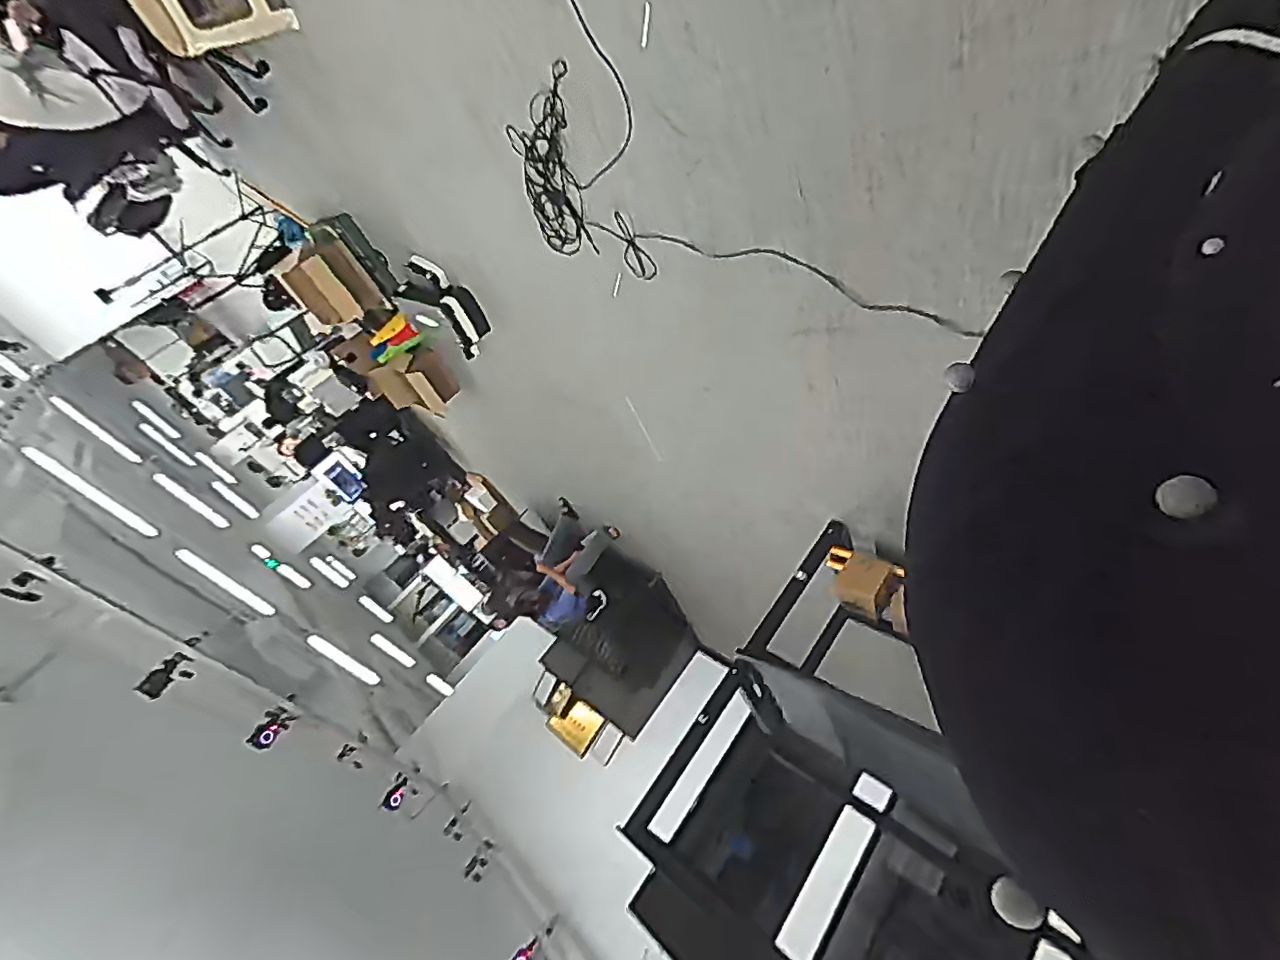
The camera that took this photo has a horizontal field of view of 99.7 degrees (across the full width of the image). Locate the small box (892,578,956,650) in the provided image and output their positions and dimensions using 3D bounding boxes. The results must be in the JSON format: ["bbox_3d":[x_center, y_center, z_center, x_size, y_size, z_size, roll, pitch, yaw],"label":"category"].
[{"bbox_3d":[1.082,0.504,2.054,0.168,0.176,0.179,19,147,44],"label":"small box"}]
